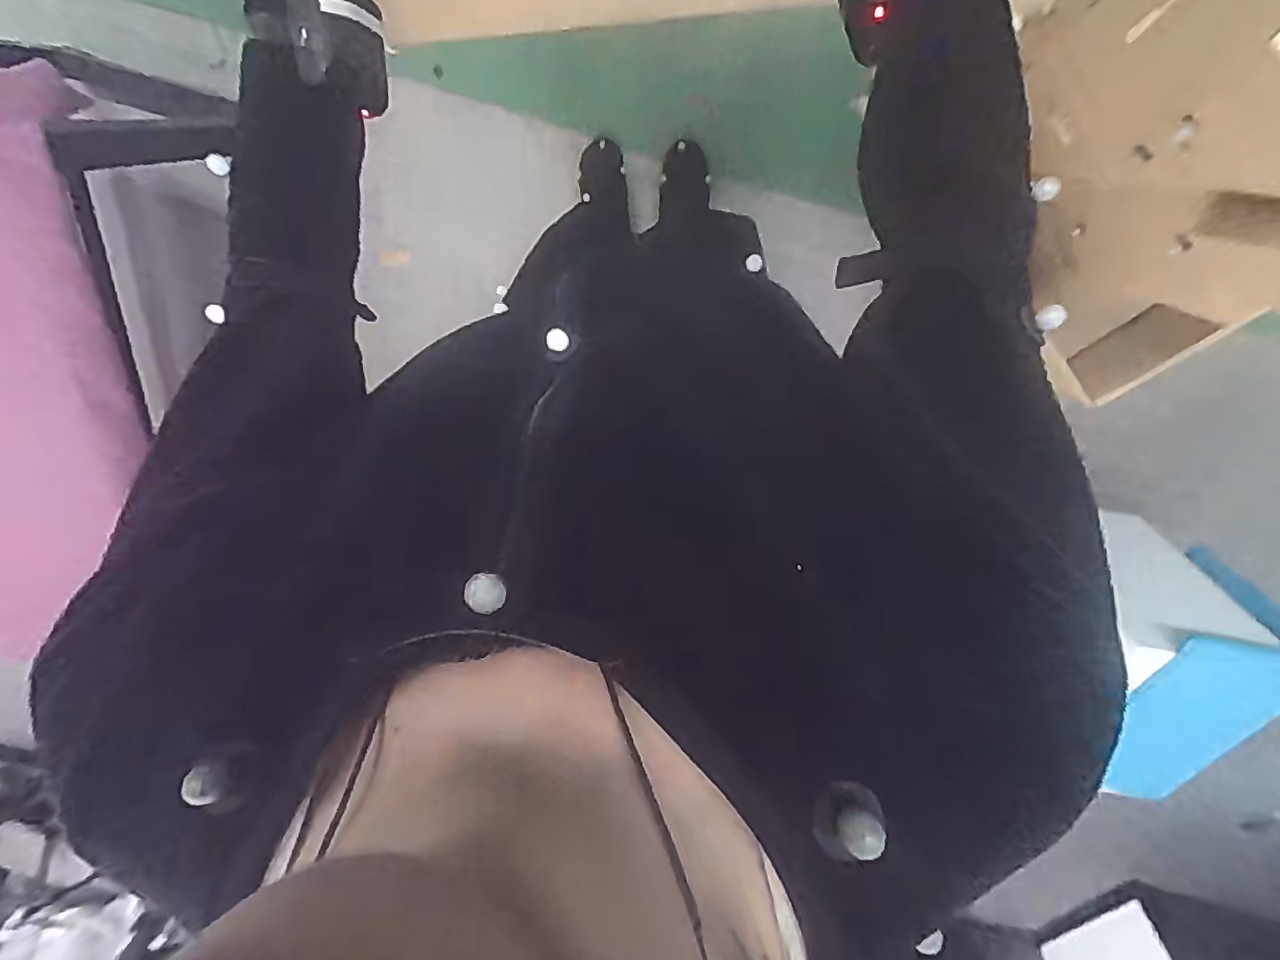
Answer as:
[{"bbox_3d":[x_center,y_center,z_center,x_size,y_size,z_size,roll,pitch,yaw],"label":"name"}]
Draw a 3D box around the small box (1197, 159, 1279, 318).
[{"bbox_3d":[0.676,-0.231,0.476,0.179,0.176,0.168,31,120,-10],"label":"small box"}]
